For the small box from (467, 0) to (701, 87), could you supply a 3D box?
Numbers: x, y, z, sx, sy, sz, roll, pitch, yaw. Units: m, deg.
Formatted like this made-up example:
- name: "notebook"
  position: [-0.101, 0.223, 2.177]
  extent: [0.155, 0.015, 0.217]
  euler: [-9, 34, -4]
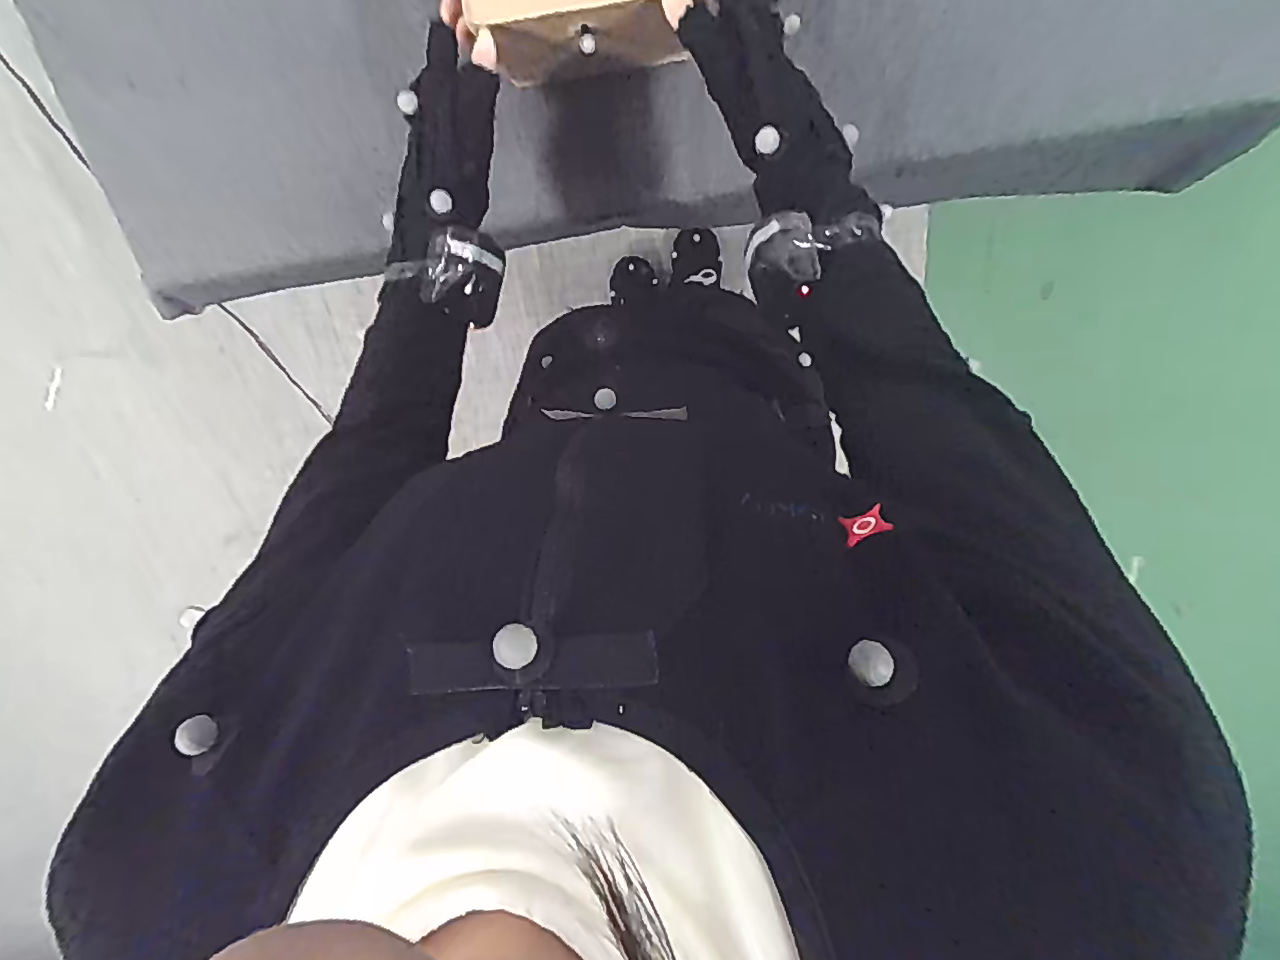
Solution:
- name: "small box"
  position: [-0.045, -0.437, 0.426]
  extent: [0.179, 0.176, 0.168]
  euler: [-8, 115, 3]

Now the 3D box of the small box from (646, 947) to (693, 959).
- name: "small box"
  position: [0.106, 1.759, 1.870]
  extent: [0.168, 0.176, 0.179]
  euler: [-4, 113, 3]
